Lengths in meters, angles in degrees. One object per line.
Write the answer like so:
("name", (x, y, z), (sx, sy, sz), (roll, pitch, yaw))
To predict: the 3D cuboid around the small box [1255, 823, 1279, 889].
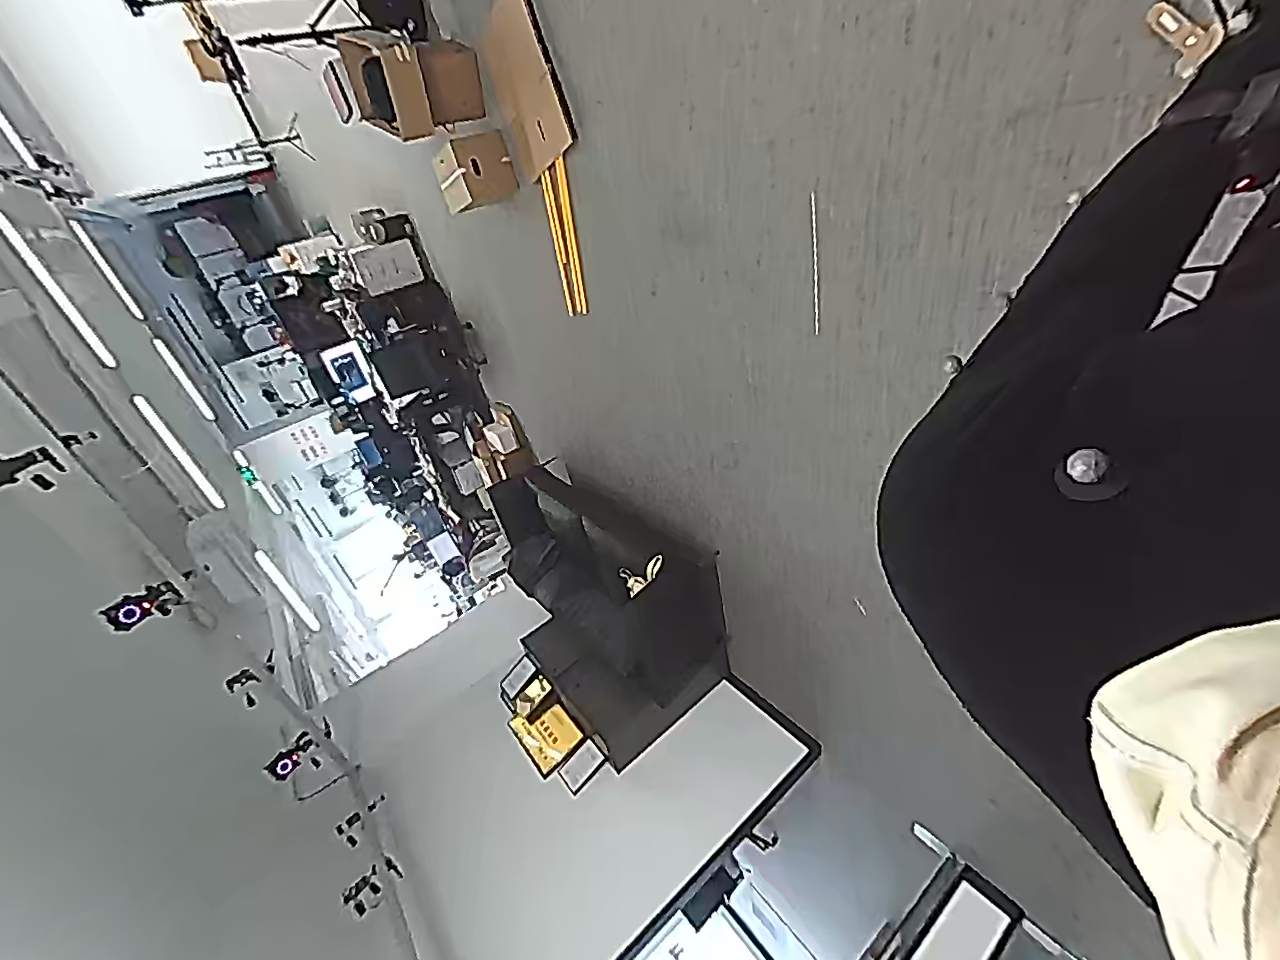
("small box", (1.794, 1.009, 1.418), (0.179, 0.176, 0.168), (29, 142, 46))
